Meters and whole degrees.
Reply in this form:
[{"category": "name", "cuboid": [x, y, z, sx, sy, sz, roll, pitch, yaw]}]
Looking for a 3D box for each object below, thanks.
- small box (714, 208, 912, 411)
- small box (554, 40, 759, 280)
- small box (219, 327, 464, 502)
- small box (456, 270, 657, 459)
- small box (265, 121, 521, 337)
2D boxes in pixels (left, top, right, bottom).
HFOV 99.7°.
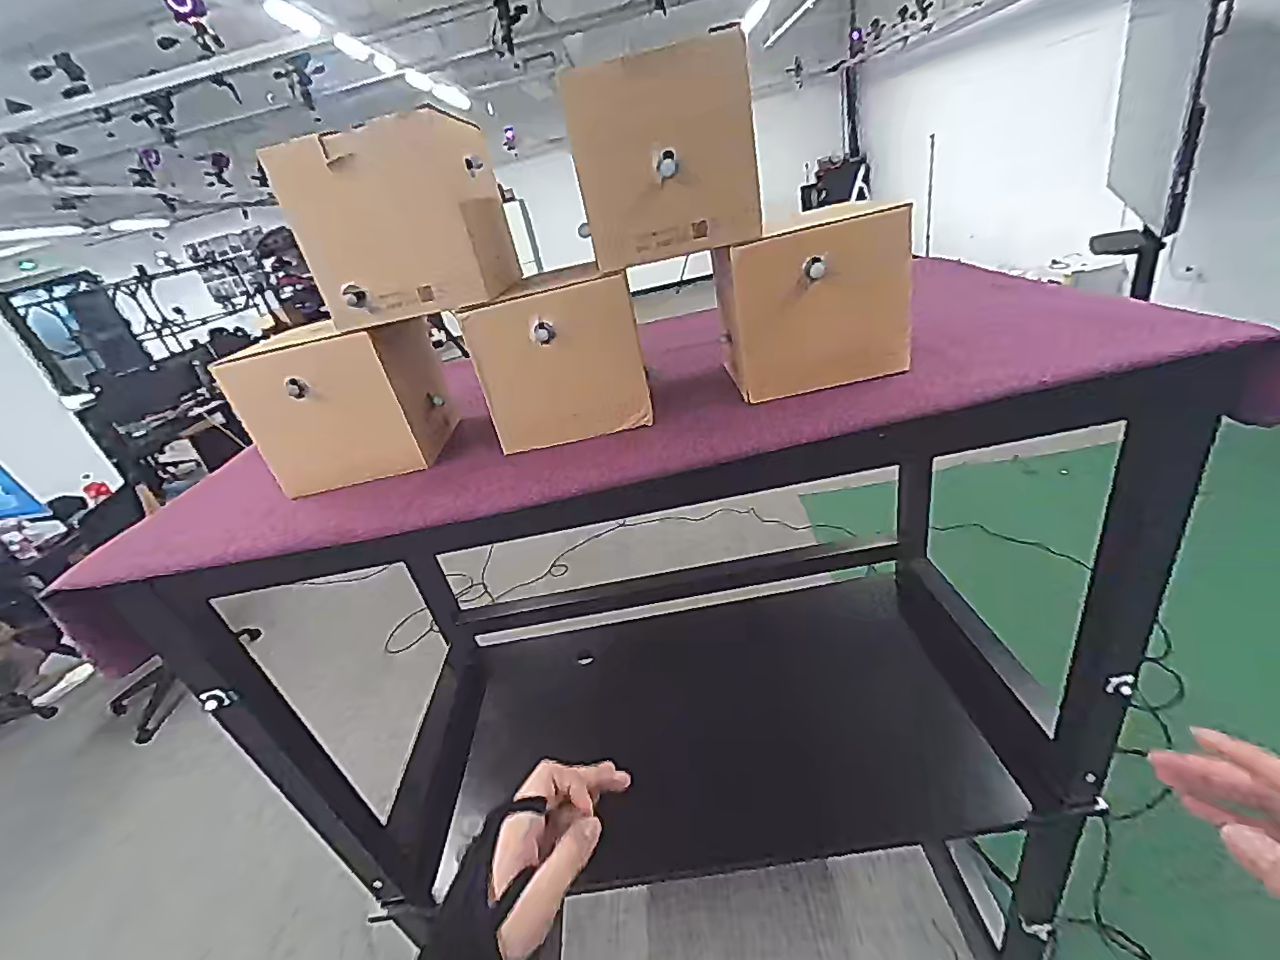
[{"category": "small box", "cuboid": [0.187, -0.197, 0.619, 0.179, 0.176, 0.168, -13, 27, 6]}, {"category": "small box", "cuboid": [0.021, -0.315, 0.564, 0.168, 0.176, 0.179, -12, 28, 4]}, {"category": "small box", "cuboid": [-0.347, -0.091, 0.669, 0.179, 0.176, 0.168, -12, 28, 3]}, {"category": "small box", "cuboid": [-0.084, -0.139, 0.639, 0.179, 0.176, 0.168, -11, 28, 5]}, {"category": "small box", "cuboid": [-0.242, -0.263, 0.587, 0.168, 0.176, 0.179, -10, 27, 6]}]
